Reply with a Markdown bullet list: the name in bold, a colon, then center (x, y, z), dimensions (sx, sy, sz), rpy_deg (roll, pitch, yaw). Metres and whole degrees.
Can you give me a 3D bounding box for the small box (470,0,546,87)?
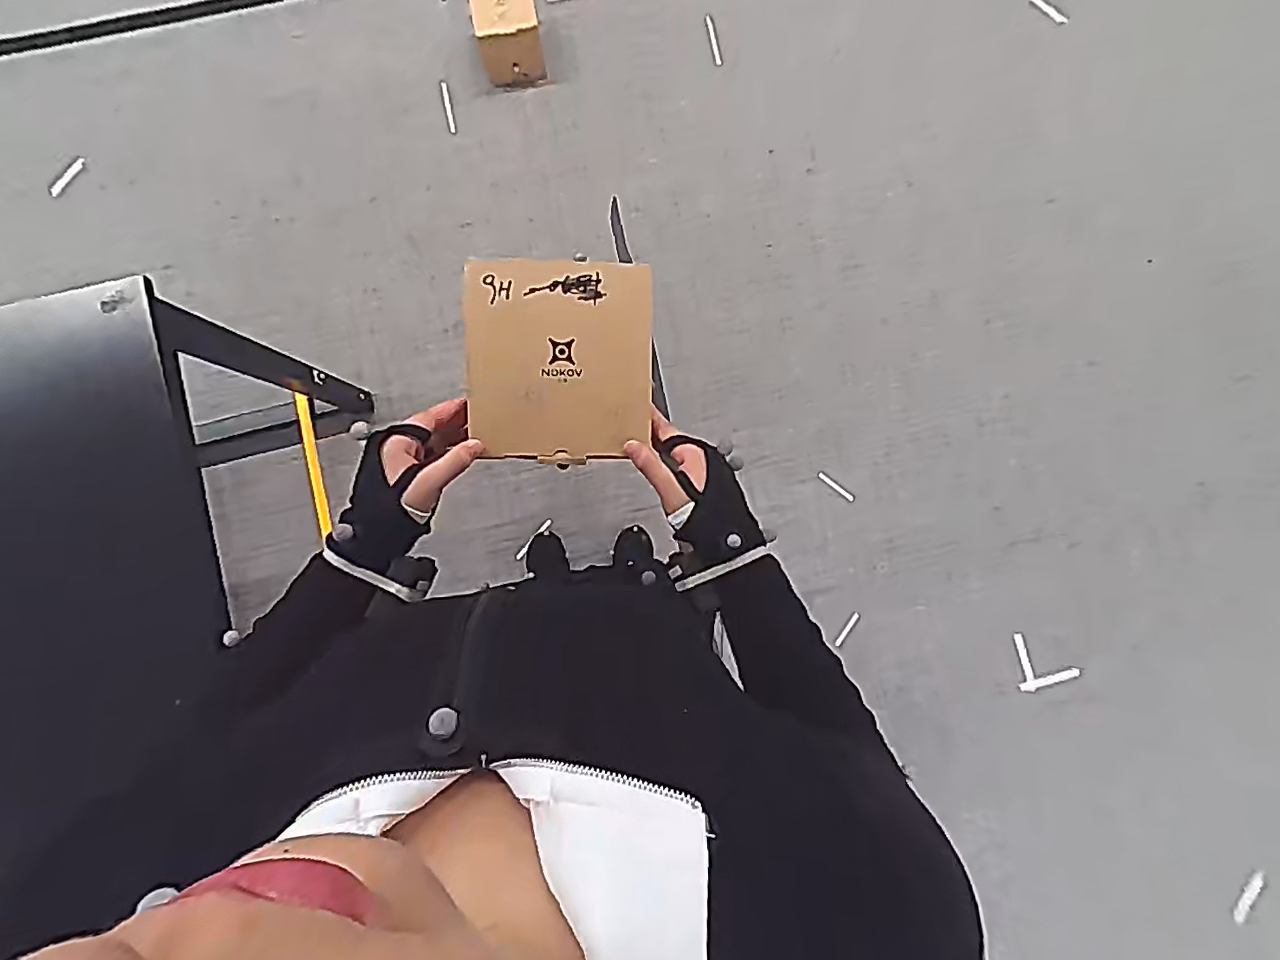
- **small box**: center (-0.363, -1.241, 1.493), dimensions (0.168, 0.176, 0.179), rpy_deg (-12, 87, -2)
